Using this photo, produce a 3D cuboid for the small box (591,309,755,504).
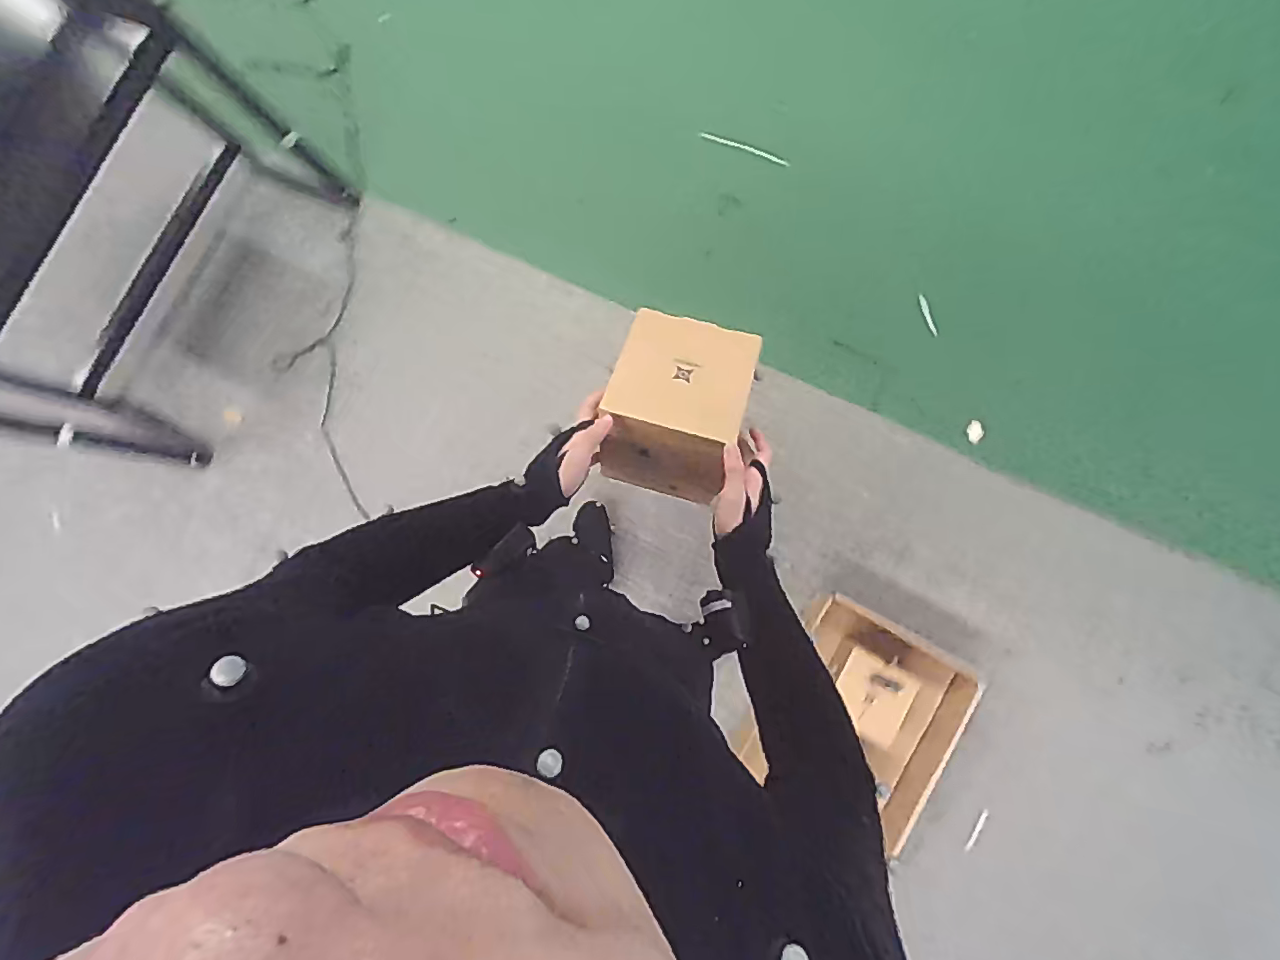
[{"bbox_3d":[0.043,-0.091,0.724,0.168,0.176,0.179,15,61,6],"label":"small box"}]
